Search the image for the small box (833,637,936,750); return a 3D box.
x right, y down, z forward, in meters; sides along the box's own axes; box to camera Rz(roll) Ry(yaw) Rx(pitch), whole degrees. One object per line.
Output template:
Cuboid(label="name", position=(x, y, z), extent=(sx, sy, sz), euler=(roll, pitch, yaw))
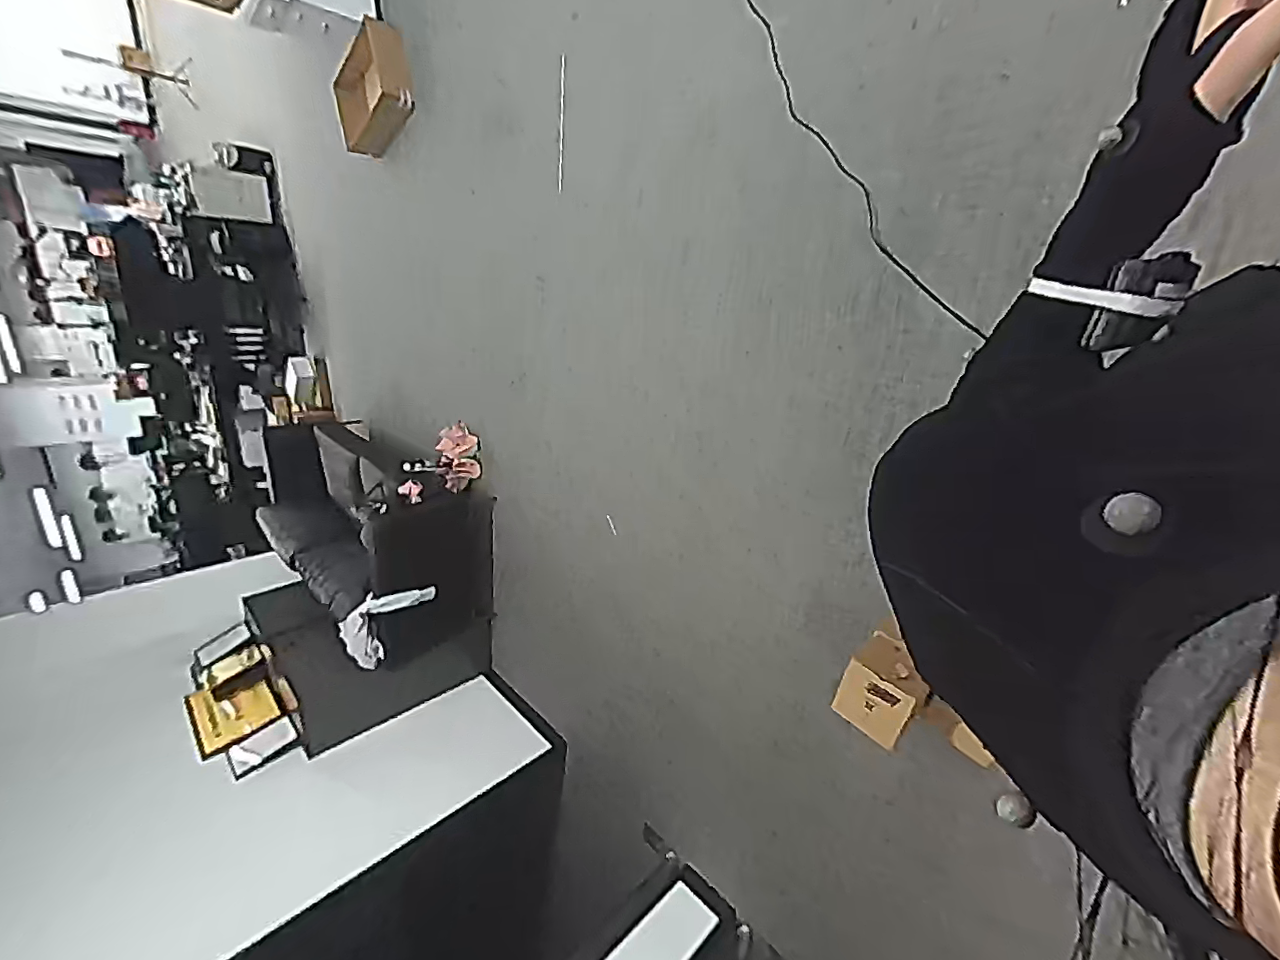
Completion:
Cuboid(label="small box", position=(0.632, 0.537, 1.389), extent=(0.168, 0.176, 0.179), euler=(31, 121, 37))

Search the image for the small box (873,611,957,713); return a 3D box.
Cuboid(label="small box", position=(0.748, 0.496, 1.498), extent=(0.168, 0.176, 0.179), euler=(25, 117, 40))
